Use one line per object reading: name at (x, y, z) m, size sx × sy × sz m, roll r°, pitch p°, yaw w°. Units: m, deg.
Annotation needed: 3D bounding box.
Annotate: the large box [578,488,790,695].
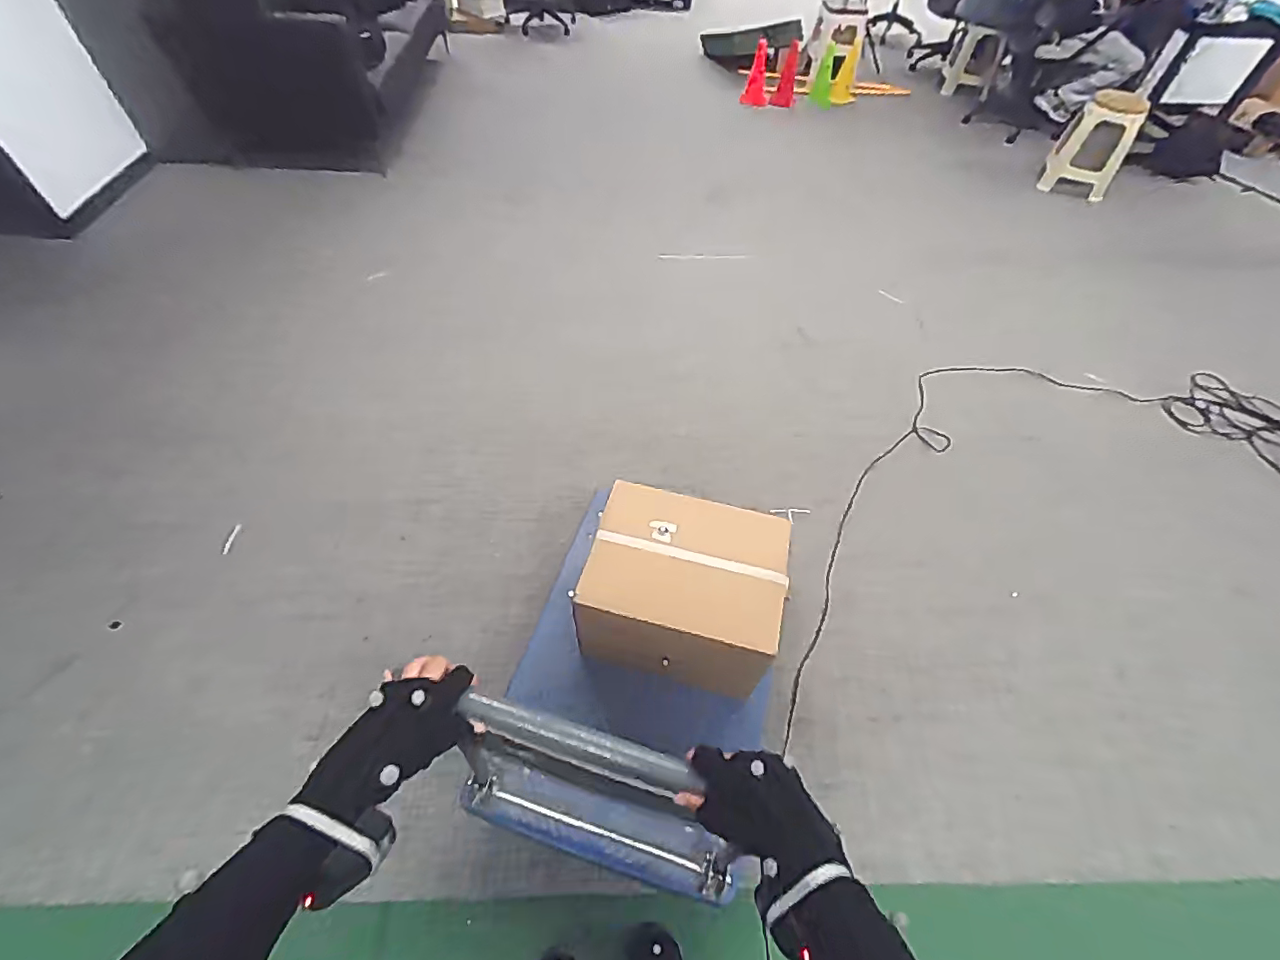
large box at (0.104, 0.260, 1.244) m, size 0.408 × 0.320 × 0.320 m, roll 12°, pitch 53°, yaw 8°
